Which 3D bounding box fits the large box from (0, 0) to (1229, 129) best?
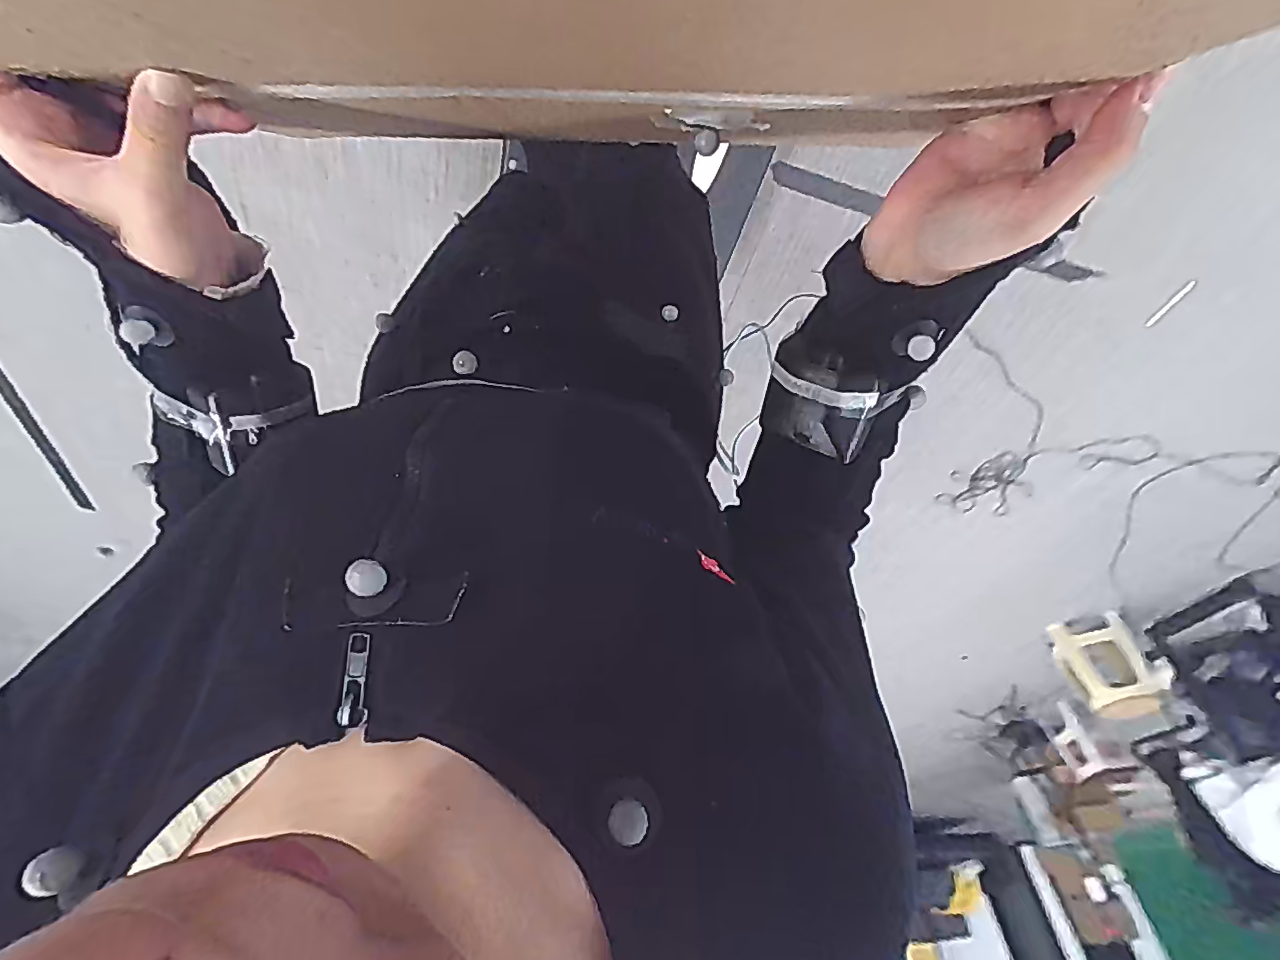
[{"bbox_3d":[-0.043,-0.302,0.150,0.408,0.320,0.320,1,117,2],"label":"large box"}]
